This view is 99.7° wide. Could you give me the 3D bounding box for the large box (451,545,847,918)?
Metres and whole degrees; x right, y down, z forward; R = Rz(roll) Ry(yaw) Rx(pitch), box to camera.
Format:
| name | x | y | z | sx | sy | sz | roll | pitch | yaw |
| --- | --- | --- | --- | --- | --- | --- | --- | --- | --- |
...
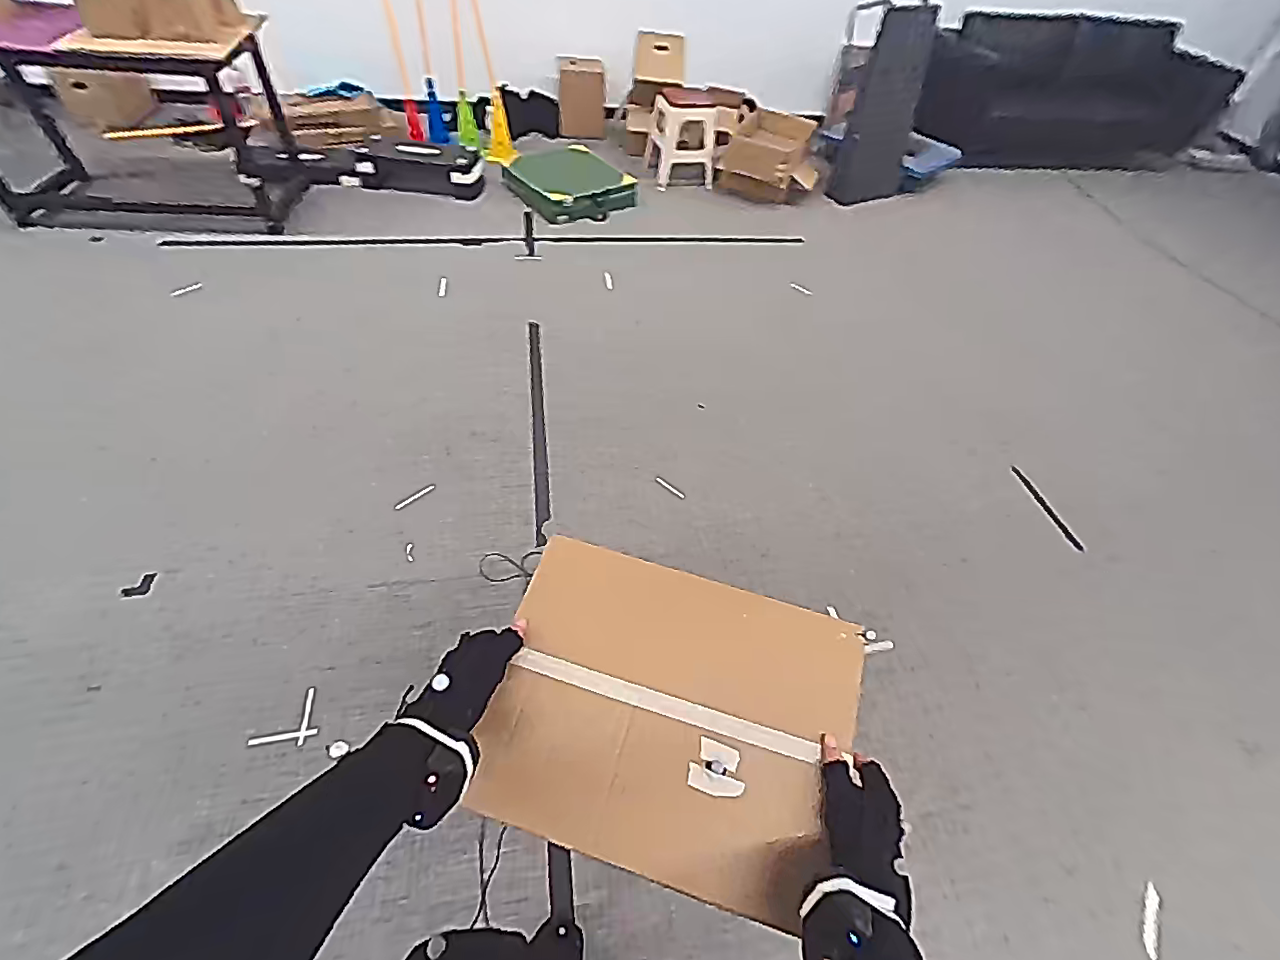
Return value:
| name | x | y | z | sx | sy | sz | roll | pitch | yaw |
| --- | --- | --- | --- | --- | --- | --- | --- | --- | --- |
| large box | 0.022 | 0.333 | 0.750 | 0.408 | 0.320 | 0.320 | 15 | 61 | 7 |
